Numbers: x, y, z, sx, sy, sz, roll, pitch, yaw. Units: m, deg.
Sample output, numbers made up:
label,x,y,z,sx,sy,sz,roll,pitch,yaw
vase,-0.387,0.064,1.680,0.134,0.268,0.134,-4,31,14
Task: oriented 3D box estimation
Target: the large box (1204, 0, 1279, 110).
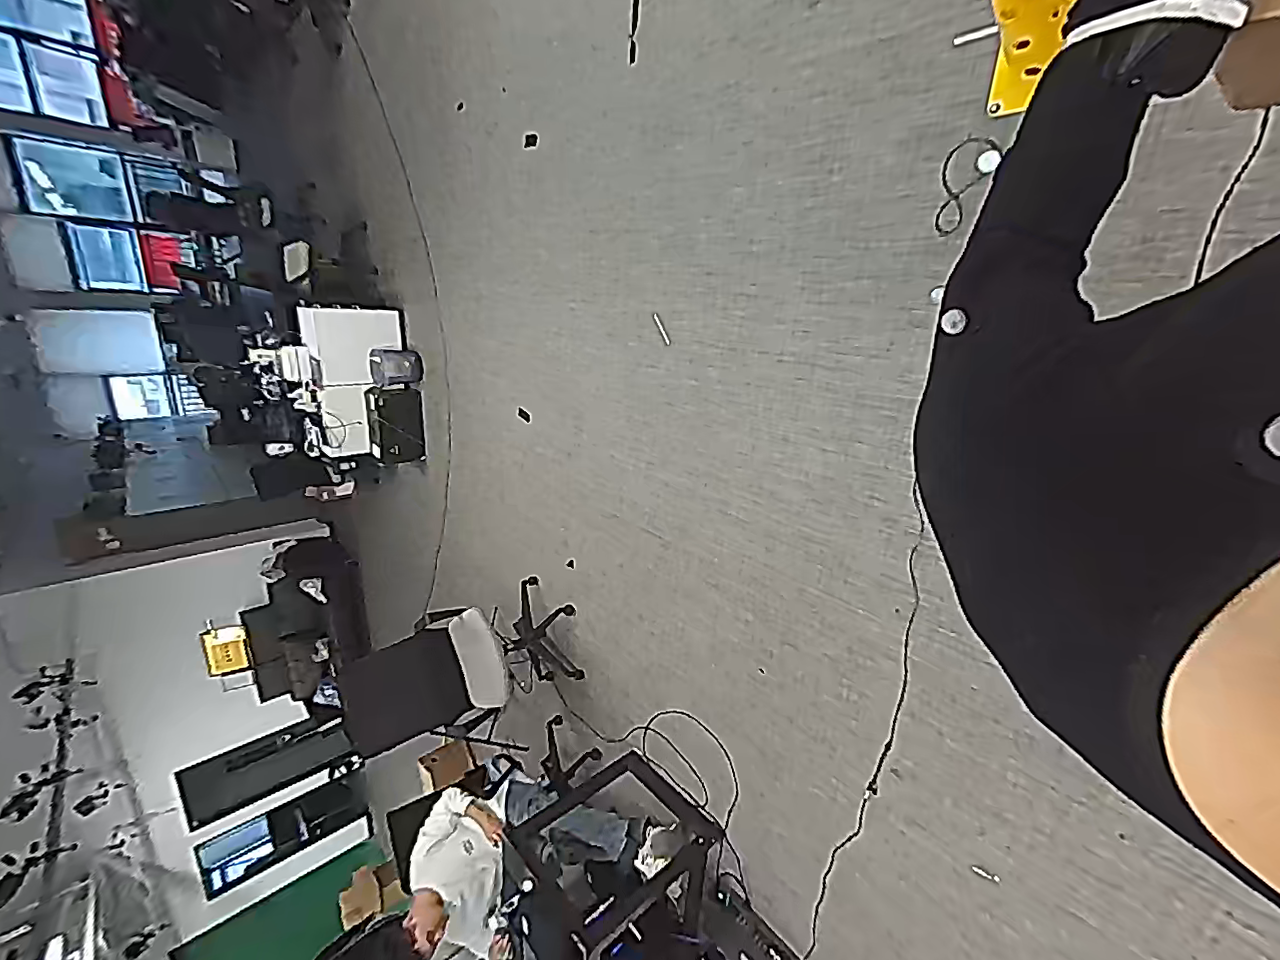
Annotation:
label,x,y,z,sx,sy,sz,roll,pitch,yaw
large box,0.594,-0.410,0.243,0.408,0.320,0.320,23,122,43
